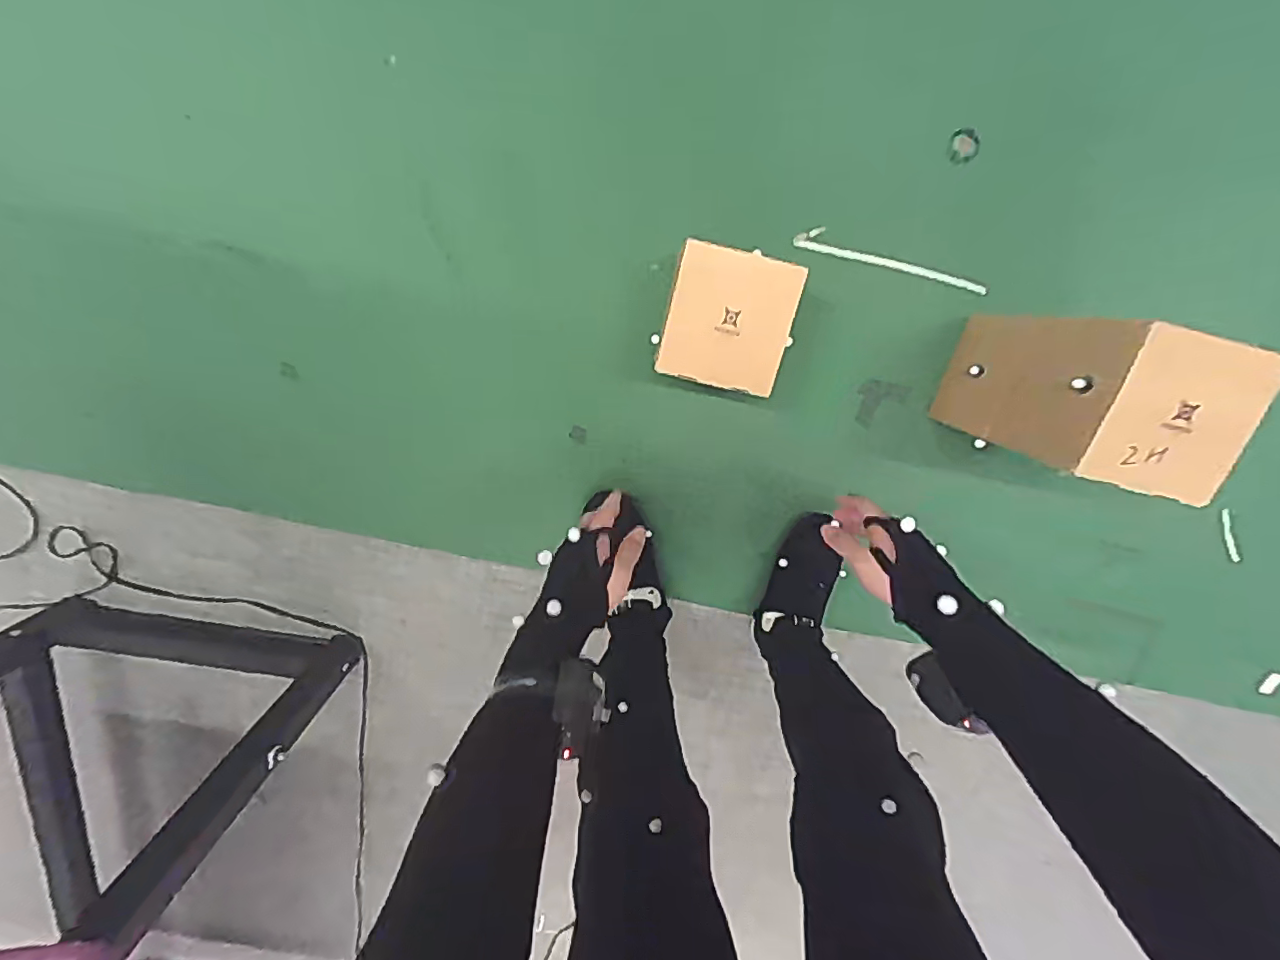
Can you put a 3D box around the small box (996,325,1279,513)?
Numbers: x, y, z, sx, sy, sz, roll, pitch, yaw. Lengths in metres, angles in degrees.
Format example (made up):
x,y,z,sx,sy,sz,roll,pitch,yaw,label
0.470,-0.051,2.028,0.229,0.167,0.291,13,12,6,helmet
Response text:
x,y,z,sx,sy,sz,roll,pitch,yaw,label
0.586,-0.084,0.661,0.168,0.176,0.179,14,108,-4,small box

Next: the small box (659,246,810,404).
x,y,z,sx,sy,sz,roll,pitch,yaw,label
0.124,-0.227,0.796,0.168,0.176,0.179,12,108,-3,small box
